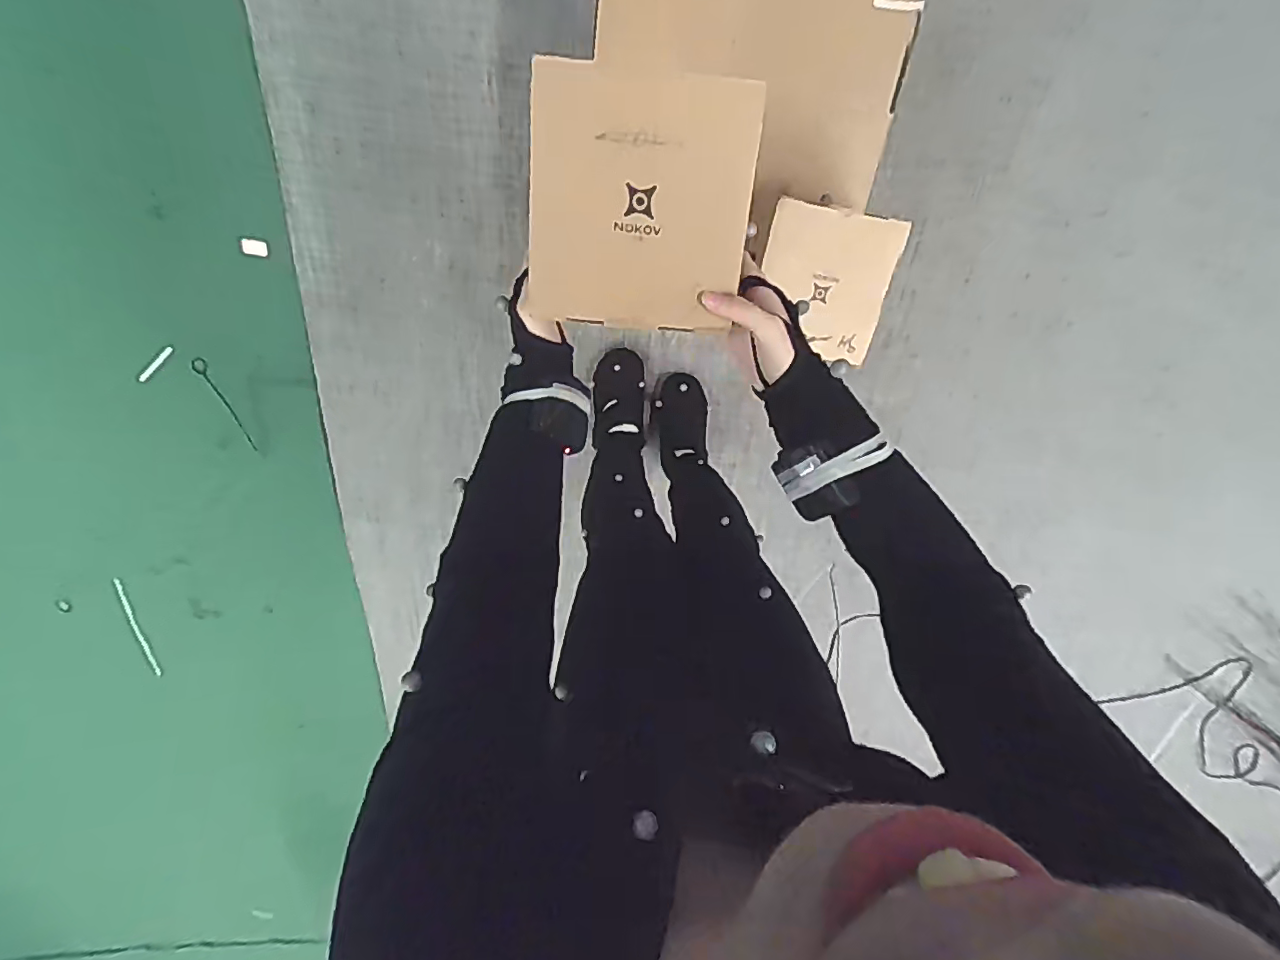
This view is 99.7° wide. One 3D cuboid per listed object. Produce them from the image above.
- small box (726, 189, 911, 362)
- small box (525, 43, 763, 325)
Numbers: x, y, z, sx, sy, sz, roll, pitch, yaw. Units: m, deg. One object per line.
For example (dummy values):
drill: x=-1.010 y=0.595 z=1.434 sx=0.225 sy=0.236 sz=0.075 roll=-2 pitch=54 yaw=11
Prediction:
small box: x=0.221 y=-0.275 z=0.727 sx=0.168 sy=0.176 sz=0.179 roll=9 pitch=115 yaw=-5
small box: x=-0.001 y=-0.243 z=0.480 sx=0.168 sy=0.176 sz=0.179 roll=5 pitch=111 yaw=-2
